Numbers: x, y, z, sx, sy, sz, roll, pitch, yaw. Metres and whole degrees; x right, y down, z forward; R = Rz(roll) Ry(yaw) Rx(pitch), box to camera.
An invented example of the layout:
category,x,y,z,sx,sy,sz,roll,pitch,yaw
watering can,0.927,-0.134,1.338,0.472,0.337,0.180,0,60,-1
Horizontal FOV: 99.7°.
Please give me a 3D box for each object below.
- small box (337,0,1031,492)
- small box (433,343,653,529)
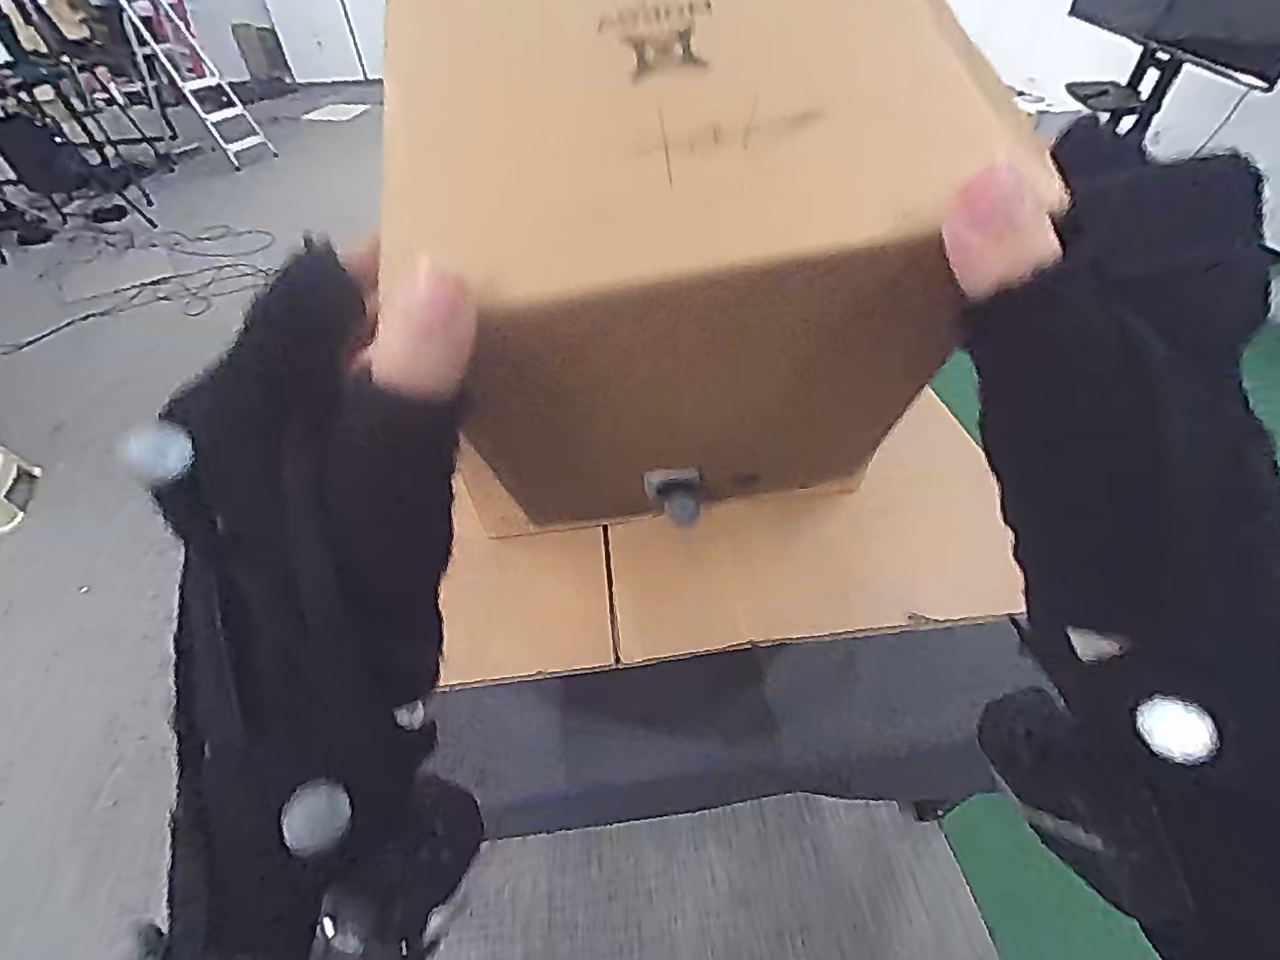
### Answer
category,x,y,z,sx,sy,sz,roll,pitch,yaw
small box,0.003,-0.114,0.231,0.168,0.176,0.179,-9,67,-1
small box,-0.079,-0.077,0.519,0.168,0.176,0.179,-6,46,-2
